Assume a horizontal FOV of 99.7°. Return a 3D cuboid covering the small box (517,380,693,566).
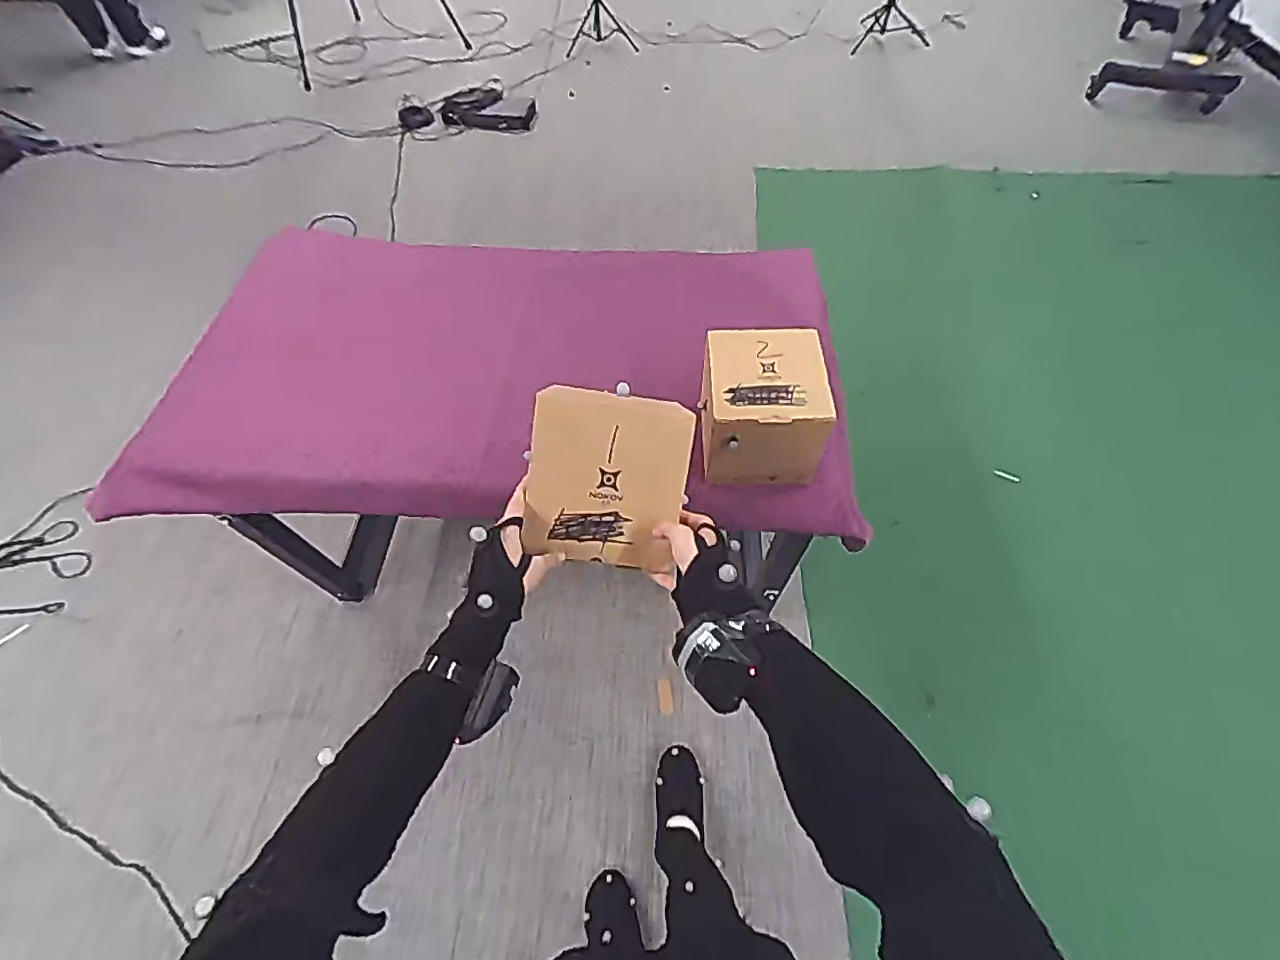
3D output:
[{"bbox_3d":[-0.041,-0.018,0.637,0.168,0.176,0.179,7,101,-5],"label":"small box"}]
